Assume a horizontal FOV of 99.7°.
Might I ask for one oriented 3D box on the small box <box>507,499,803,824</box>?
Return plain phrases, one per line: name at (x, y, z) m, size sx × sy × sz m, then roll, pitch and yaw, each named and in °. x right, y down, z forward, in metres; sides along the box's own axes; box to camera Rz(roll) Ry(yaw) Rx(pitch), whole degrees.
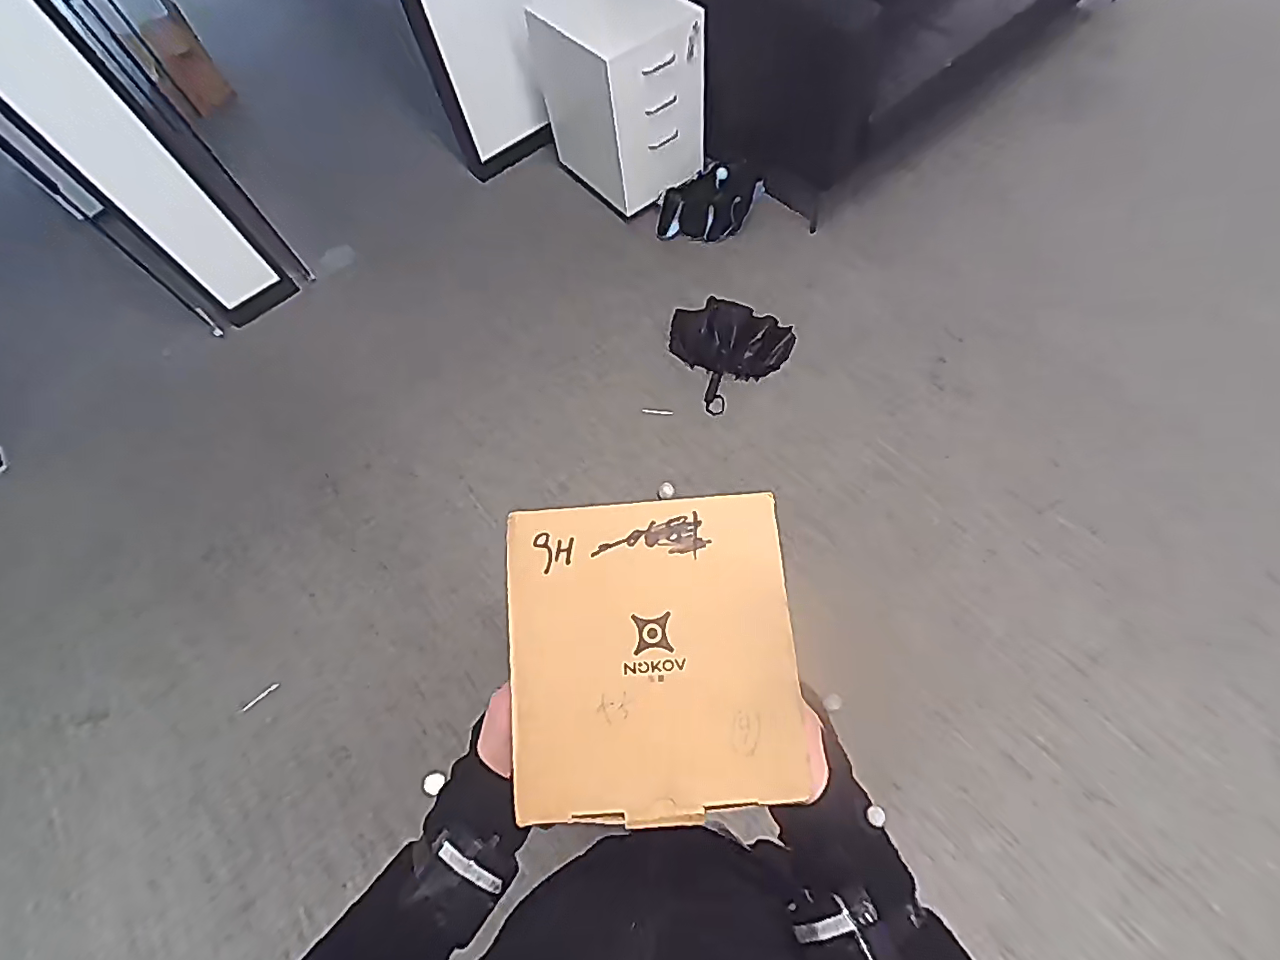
small box at (0.006, 0.116, 0.395) m, size 0.168 × 0.176 × 0.179 m, roll -4°, pitch 79°, yaw -1°
